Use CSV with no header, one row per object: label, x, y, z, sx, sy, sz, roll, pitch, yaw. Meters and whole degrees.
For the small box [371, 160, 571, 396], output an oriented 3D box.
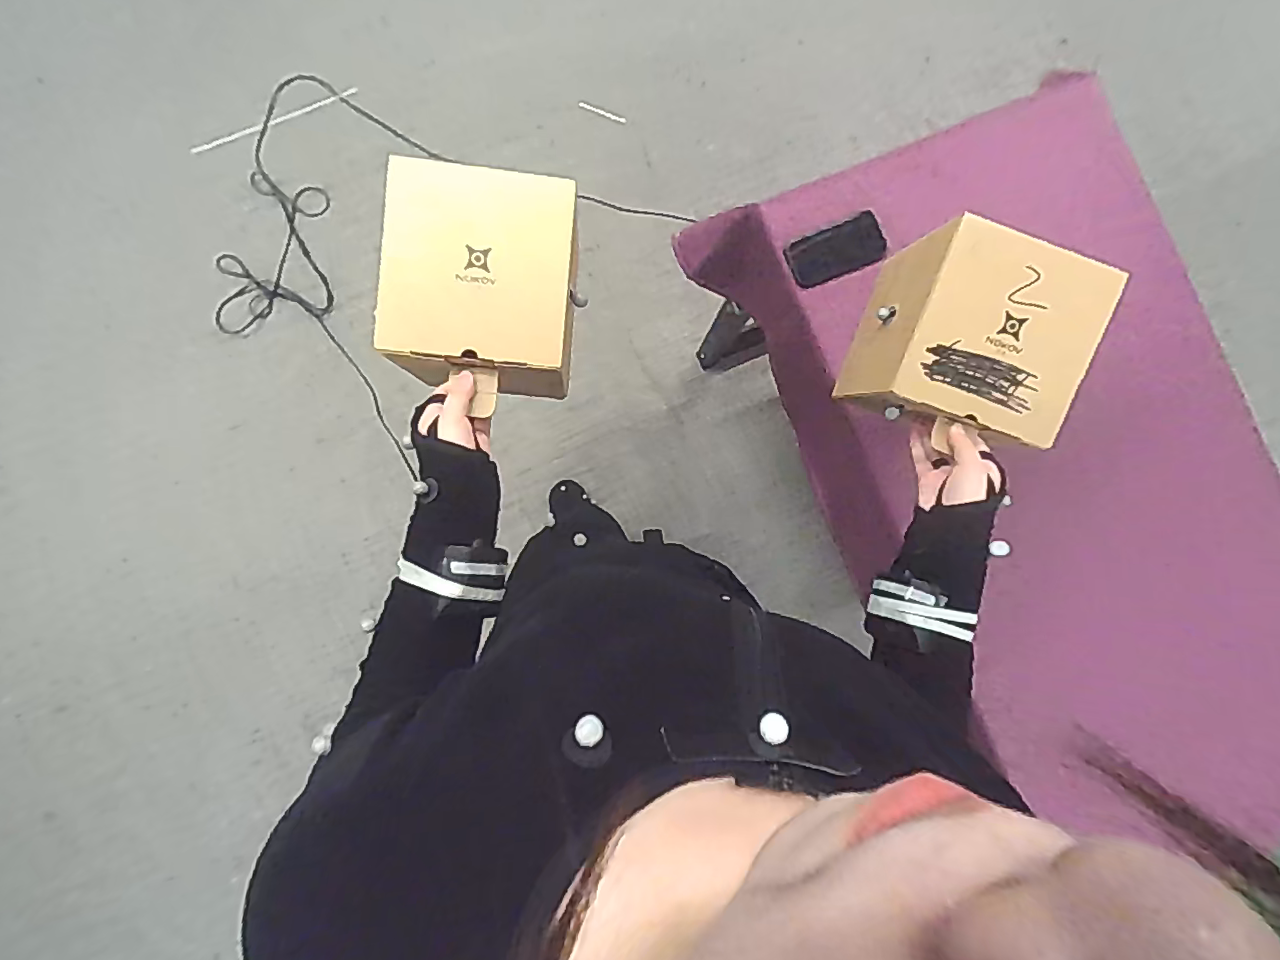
small box,-0.162,-0.194,0.569,0.168,0.176,0.179,4,90,-6
